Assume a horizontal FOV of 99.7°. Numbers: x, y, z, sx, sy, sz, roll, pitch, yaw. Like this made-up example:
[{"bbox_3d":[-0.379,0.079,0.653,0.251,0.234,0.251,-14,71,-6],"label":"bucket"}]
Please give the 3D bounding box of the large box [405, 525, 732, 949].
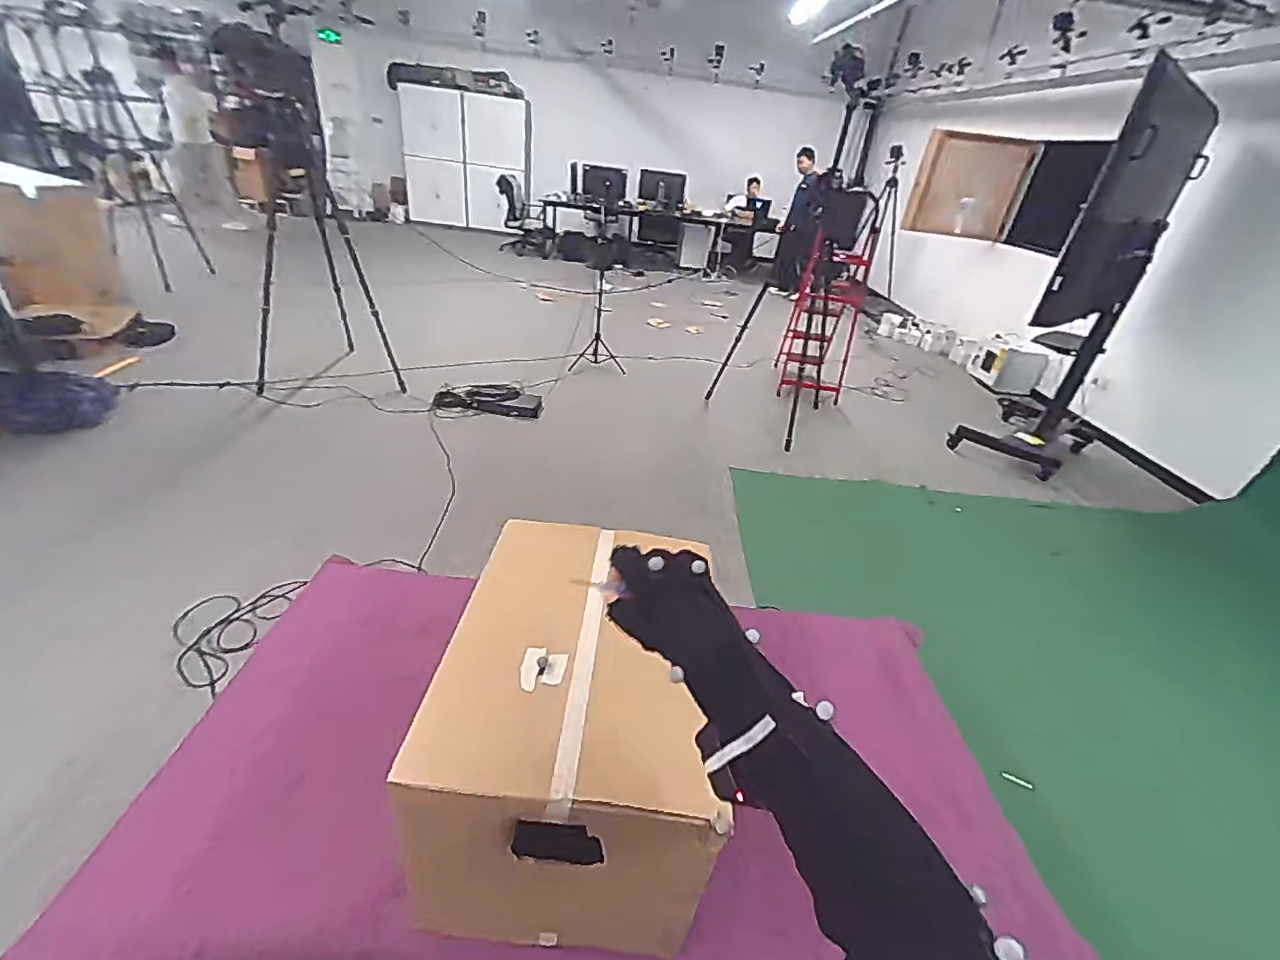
[{"bbox_3d":[-0.076,0.318,0.740,0.320,0.320,0.408,8,32,0],"label":"large box"}]
